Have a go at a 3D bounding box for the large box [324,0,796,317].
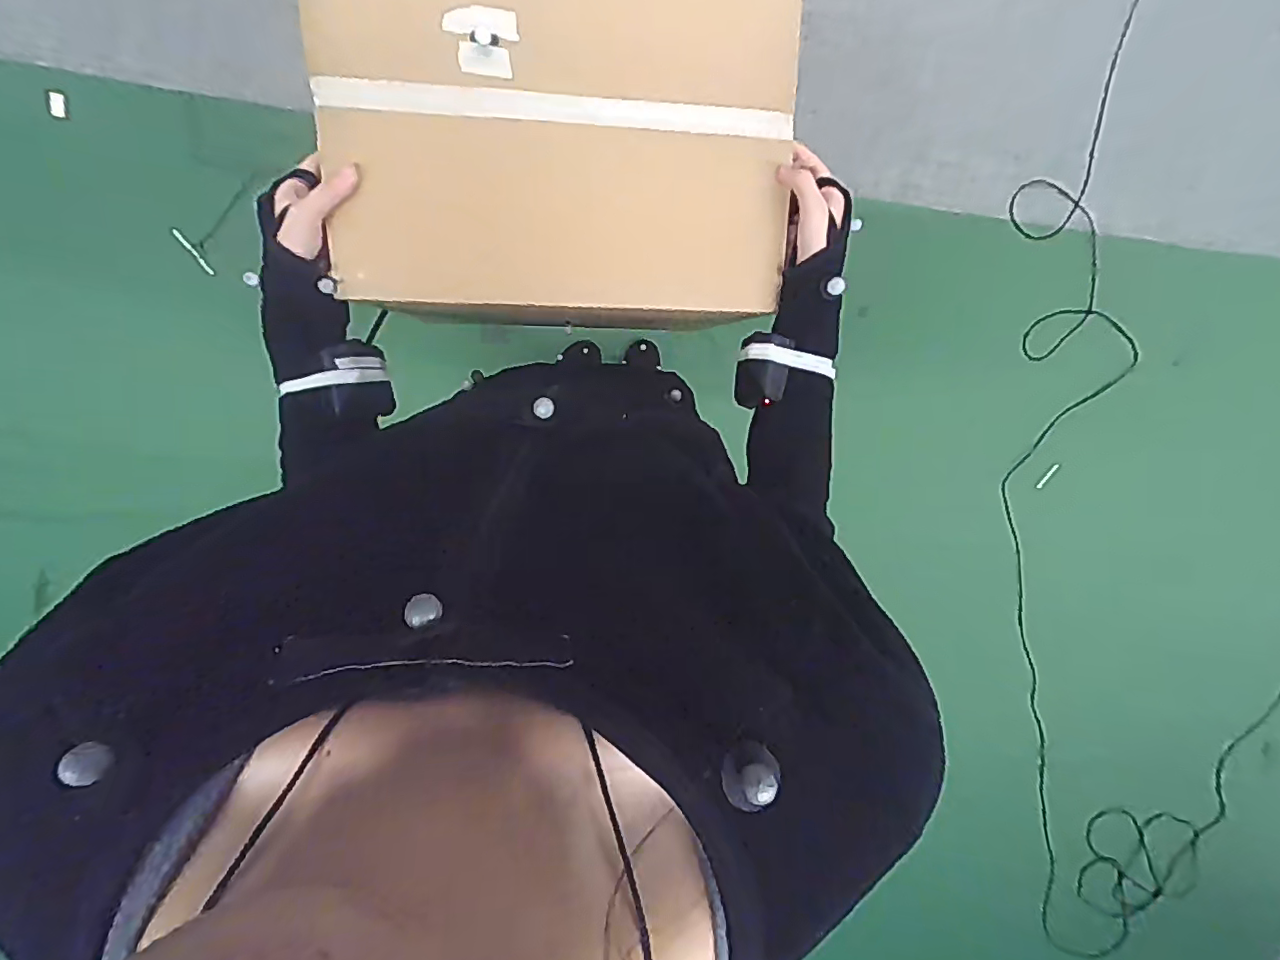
[{"bbox_3d":[-0.077,-0.353,0.618,0.408,0.320,0.320,-1,103,-7],"label":"large box"}]
